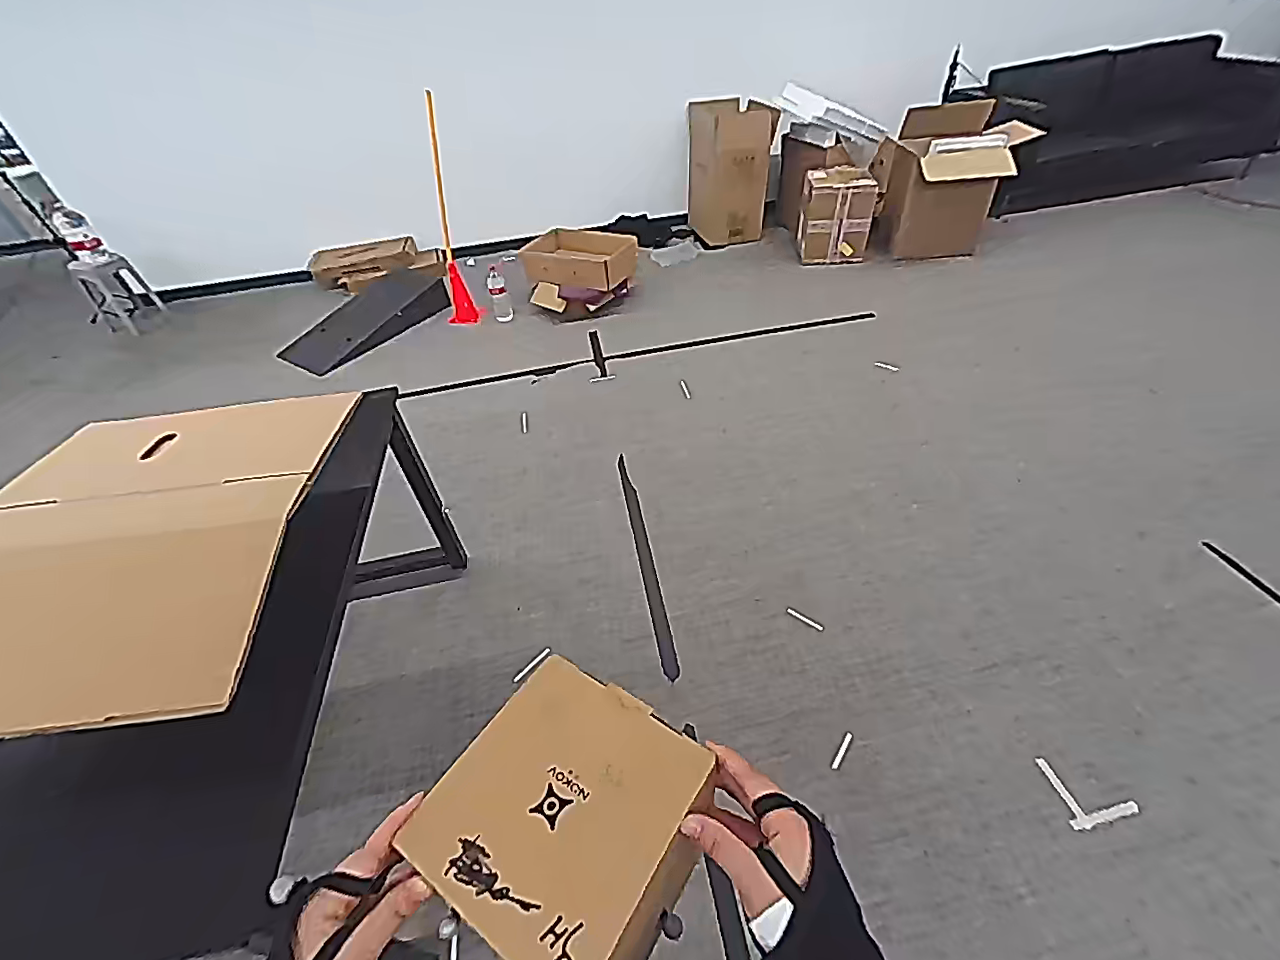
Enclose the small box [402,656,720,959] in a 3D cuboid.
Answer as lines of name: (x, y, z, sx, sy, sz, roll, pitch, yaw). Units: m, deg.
small box: (-0.050, 0.289, 0.440, 0.168, 0.176, 0.179, 20, 44, 29)
